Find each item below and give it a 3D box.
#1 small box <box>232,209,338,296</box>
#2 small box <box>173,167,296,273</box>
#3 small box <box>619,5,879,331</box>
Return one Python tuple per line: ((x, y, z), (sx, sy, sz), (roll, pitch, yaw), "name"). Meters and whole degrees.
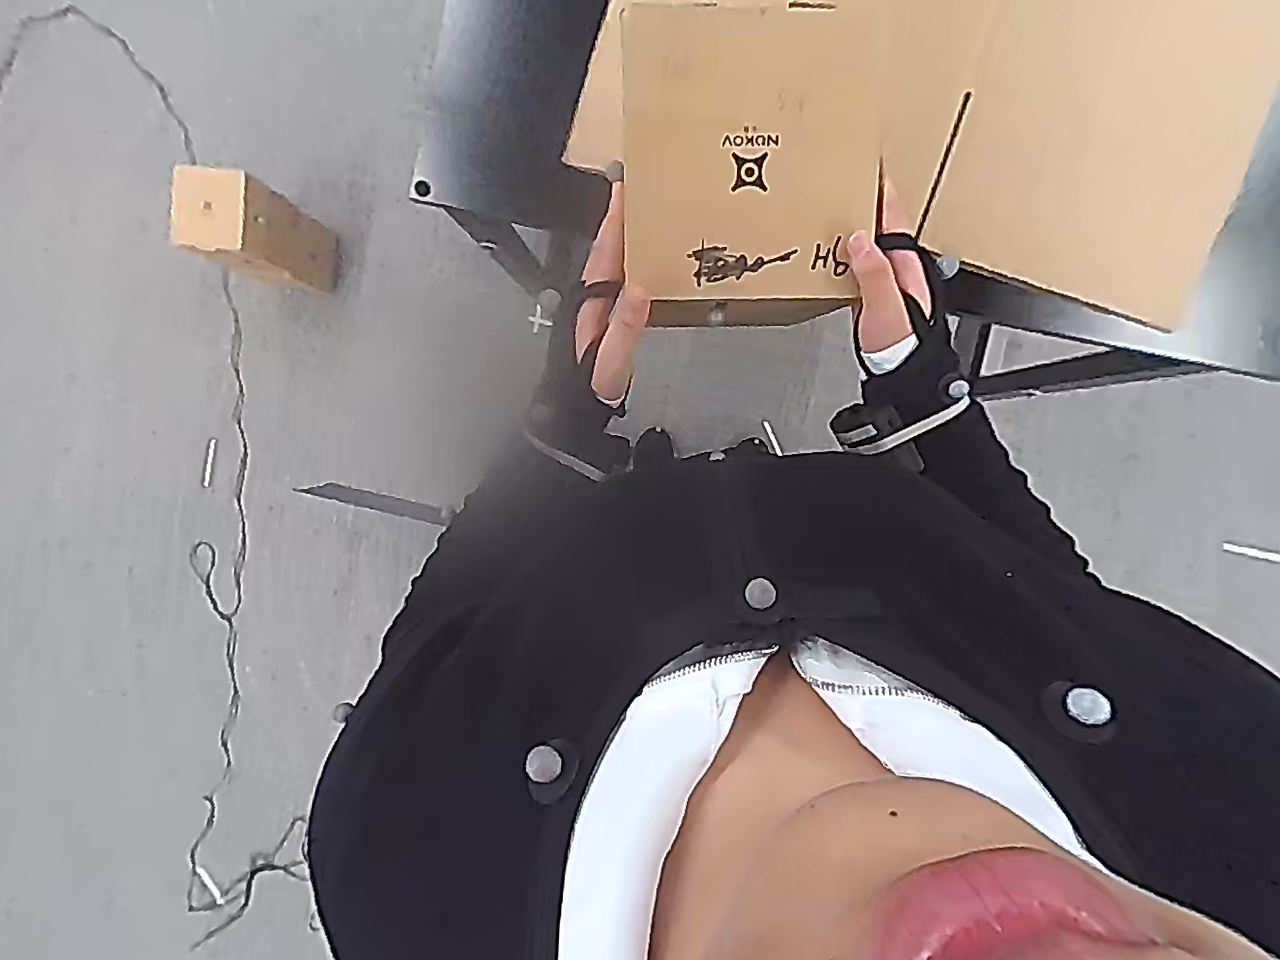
((-0.935, -0.608, 1.436), (0.168, 0.176, 0.179), (9, 95, 3), "small box")
((-0.945, -0.602, 1.273), (0.168, 0.176, 0.179), (6, 93, 2), "small box")
((0.067, -0.218, 0.425), (0.168, 0.176, 0.179), (-2, 99, -1), "small box")
